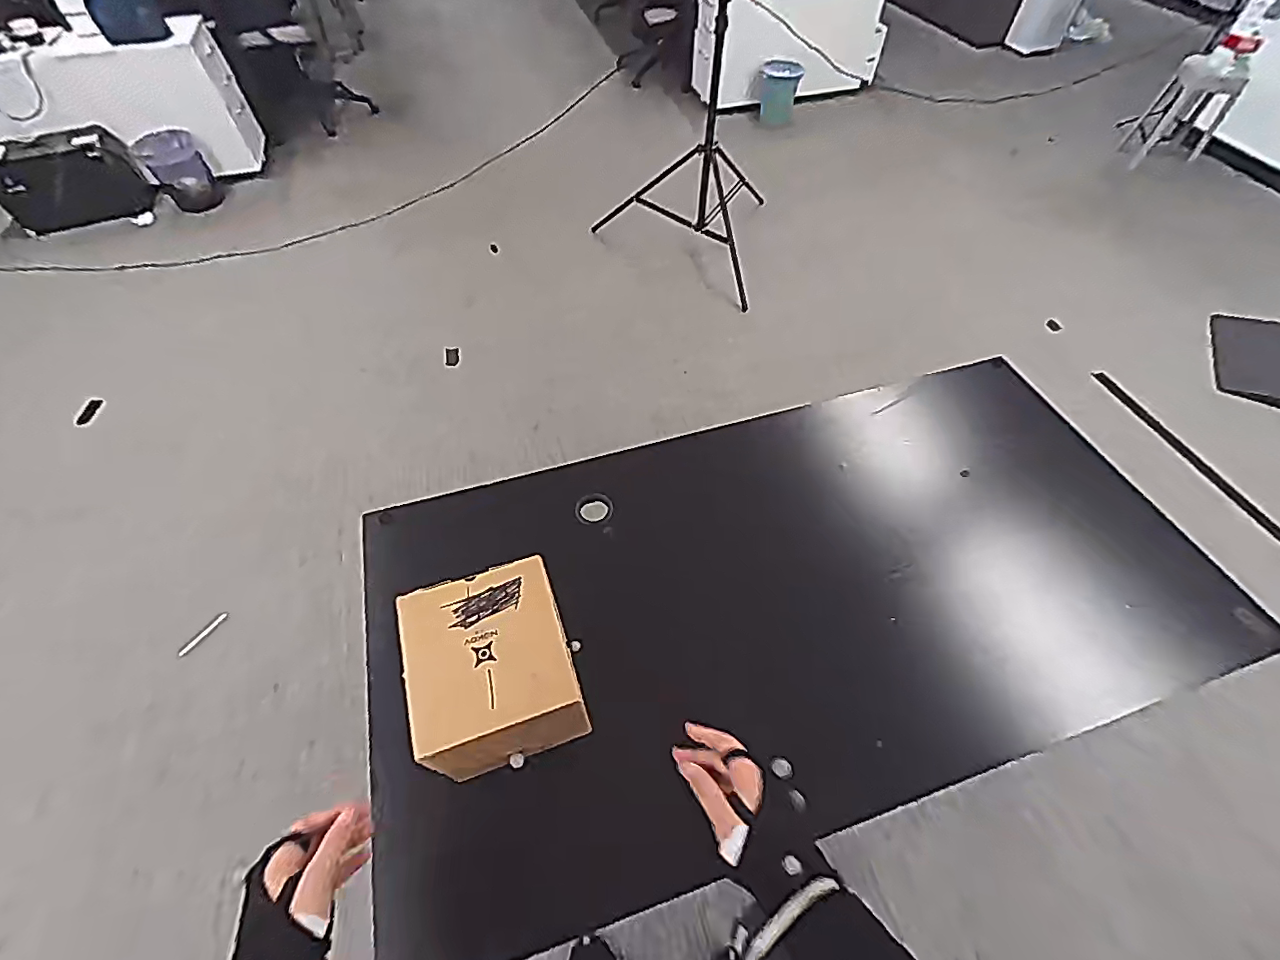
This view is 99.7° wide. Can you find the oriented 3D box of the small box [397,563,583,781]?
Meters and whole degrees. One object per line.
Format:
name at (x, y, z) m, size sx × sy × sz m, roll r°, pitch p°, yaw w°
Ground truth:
small box at (-0.171, 0.230, 0.642) m, size 0.168 × 0.176 × 0.179 m, roll -16°, pitch 57°, yaw -11°
